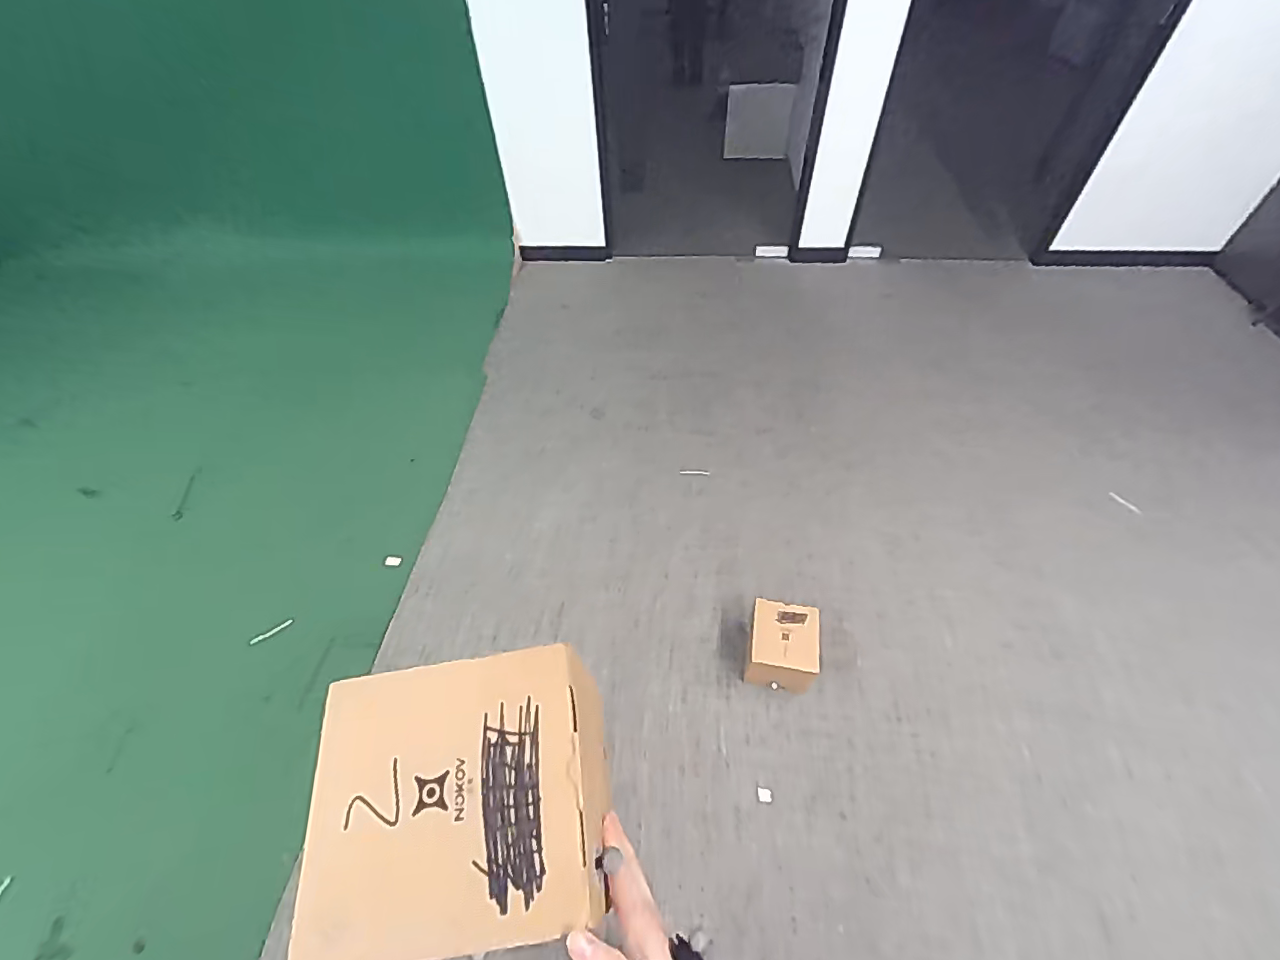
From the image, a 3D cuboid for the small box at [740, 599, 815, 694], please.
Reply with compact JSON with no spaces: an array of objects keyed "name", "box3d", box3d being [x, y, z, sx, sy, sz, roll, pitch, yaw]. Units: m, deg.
[{"name":"small box","box3d":[0.360,0.441,1.430,0.168,0.176,0.179,8,53,8]}]
